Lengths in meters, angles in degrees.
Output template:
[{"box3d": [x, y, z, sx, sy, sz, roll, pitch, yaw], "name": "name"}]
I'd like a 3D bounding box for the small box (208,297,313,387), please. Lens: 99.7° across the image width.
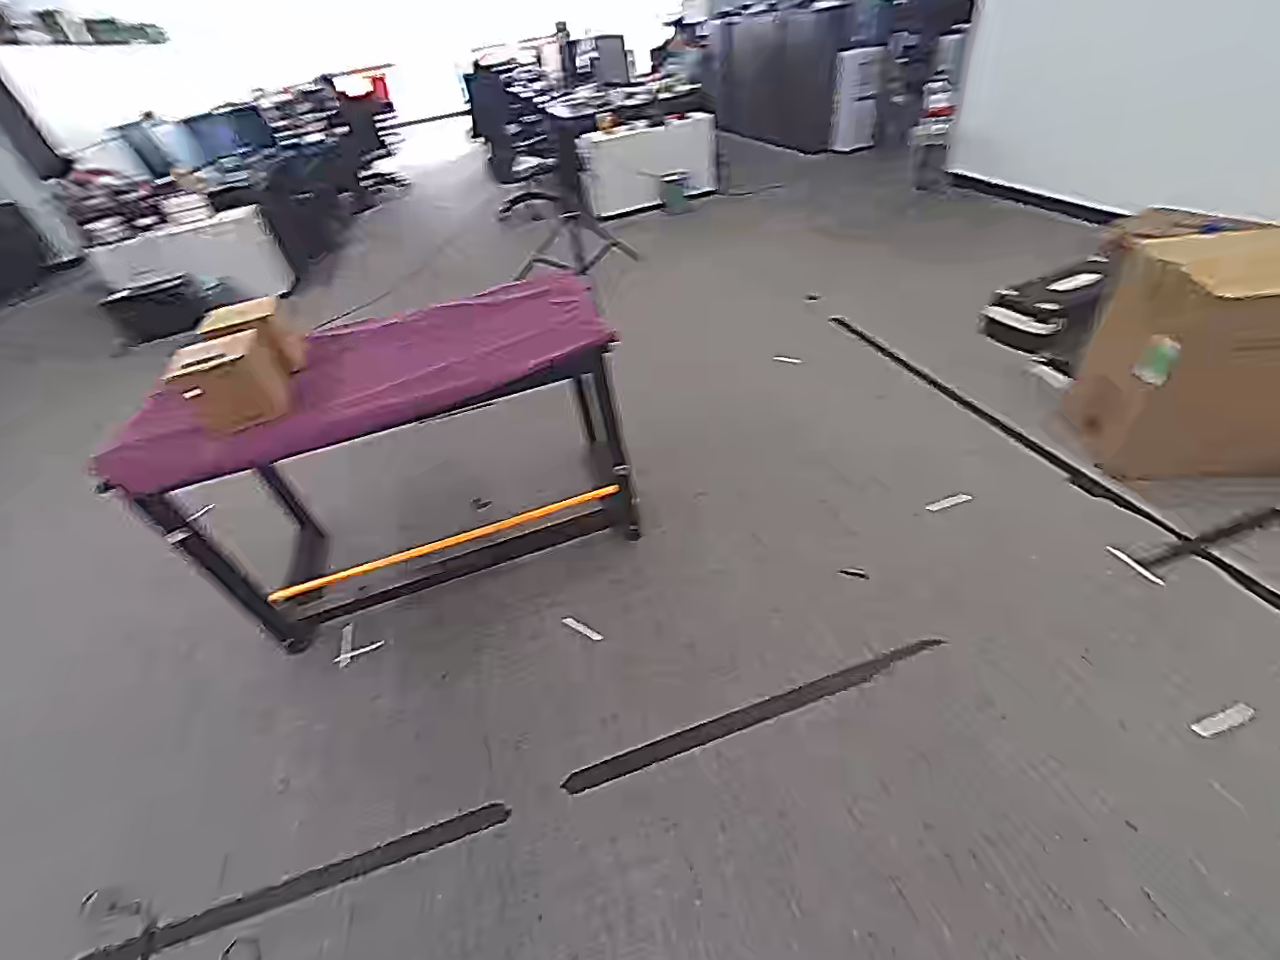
[{"box3d": [-1.052, -0.387, 1.517, 0.179, 0.176, 0.168, -20, 42, -11], "name": "small box"}]
